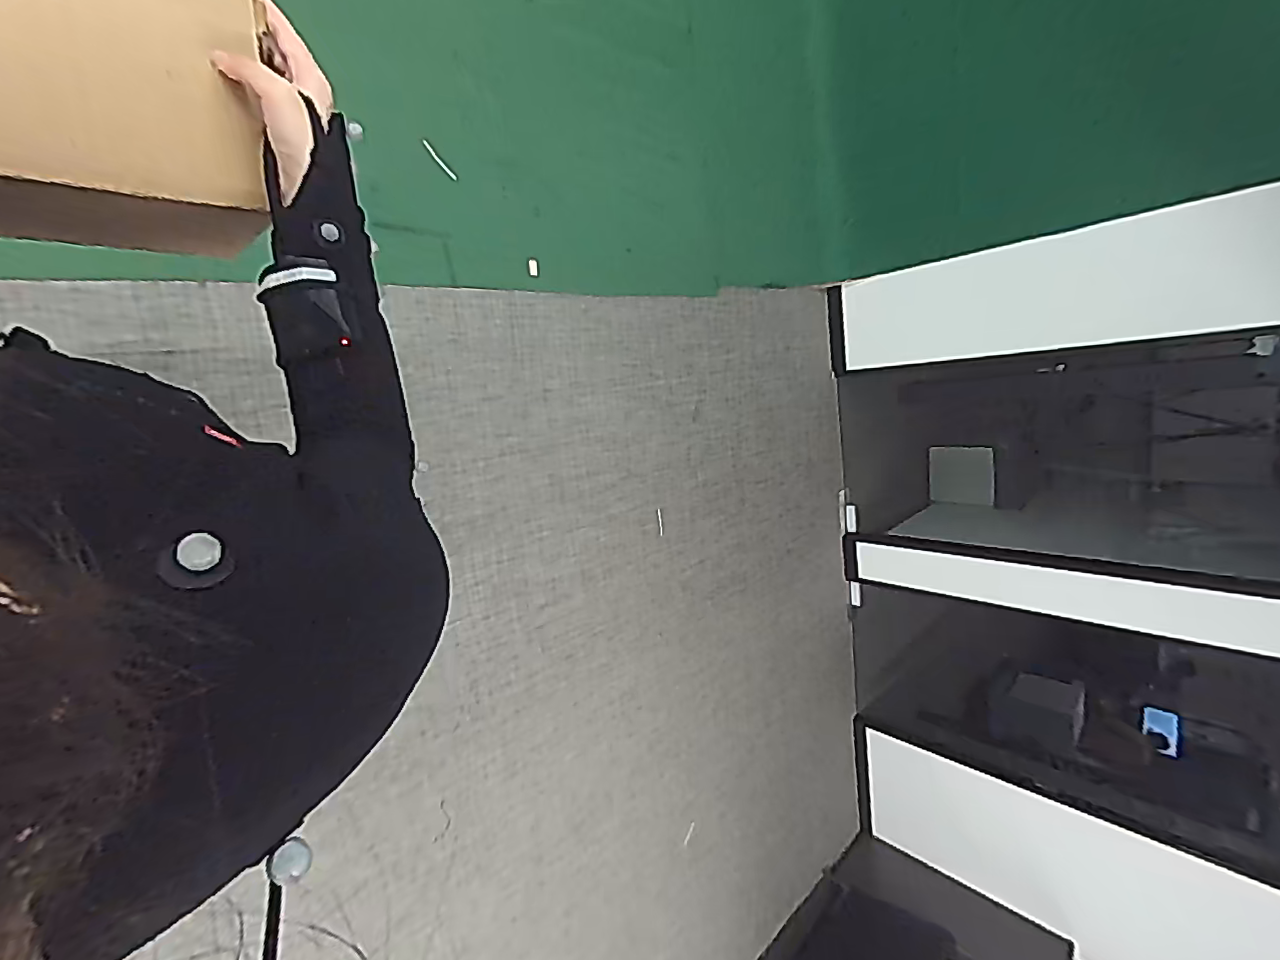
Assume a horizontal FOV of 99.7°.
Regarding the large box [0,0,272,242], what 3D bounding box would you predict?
[{"bbox_3d":[-0.541,-0.363,0.380,0.408,0.320,0.320,-12,109,-39],"label":"large box"}]
